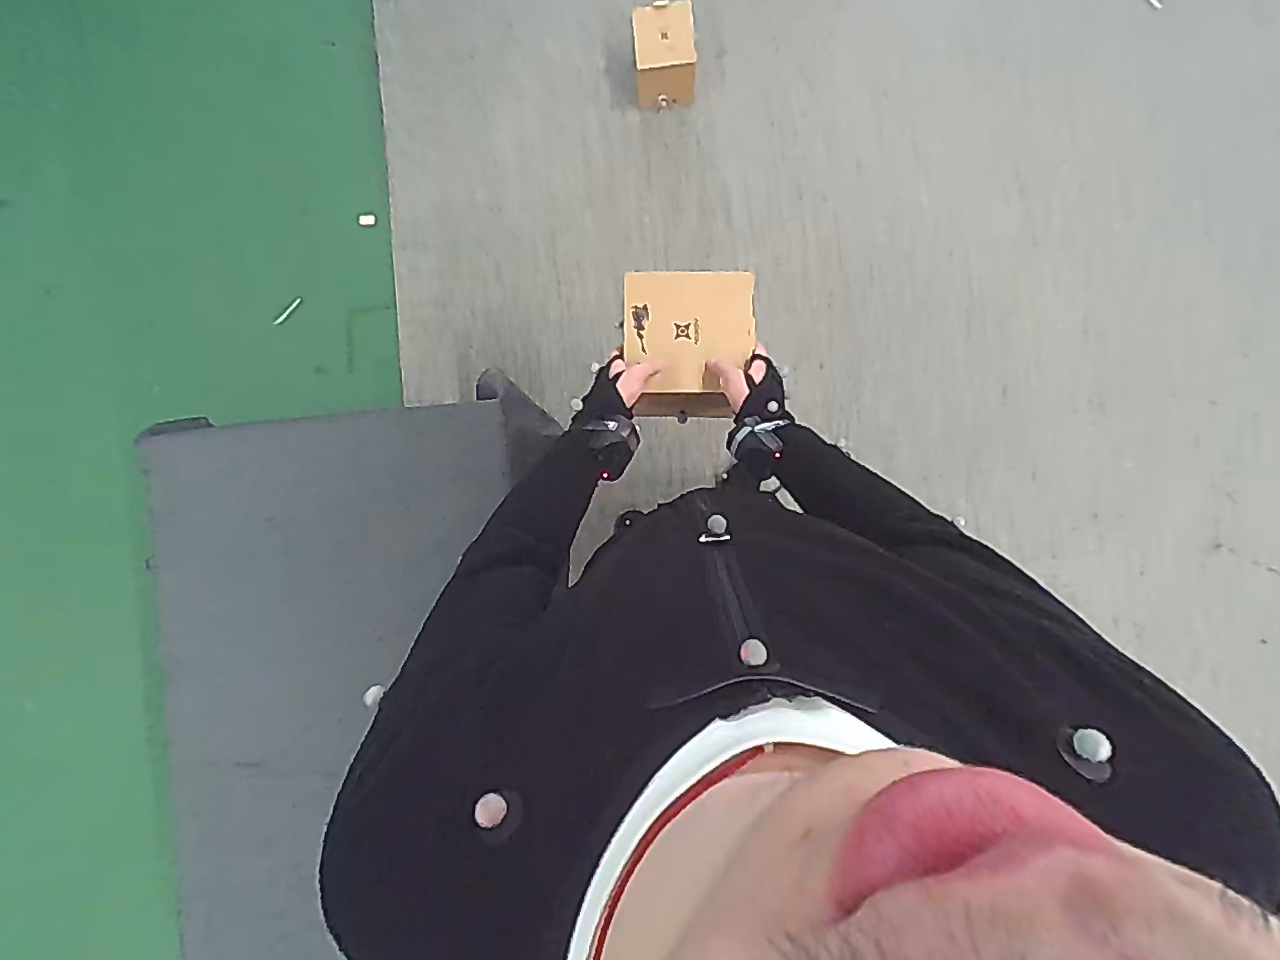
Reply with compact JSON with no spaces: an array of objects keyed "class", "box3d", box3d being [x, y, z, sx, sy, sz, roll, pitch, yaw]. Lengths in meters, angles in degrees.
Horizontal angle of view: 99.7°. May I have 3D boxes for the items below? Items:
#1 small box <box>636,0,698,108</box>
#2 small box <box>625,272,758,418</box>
[{"class":"small box","box3d":[0.076,-1.199,1.525,0.168,0.176,0.179,-3,88,5]},{"class":"small box","box3d":[0.068,-0.189,0.797,0.179,0.176,0.168,1,85,-1]}]
